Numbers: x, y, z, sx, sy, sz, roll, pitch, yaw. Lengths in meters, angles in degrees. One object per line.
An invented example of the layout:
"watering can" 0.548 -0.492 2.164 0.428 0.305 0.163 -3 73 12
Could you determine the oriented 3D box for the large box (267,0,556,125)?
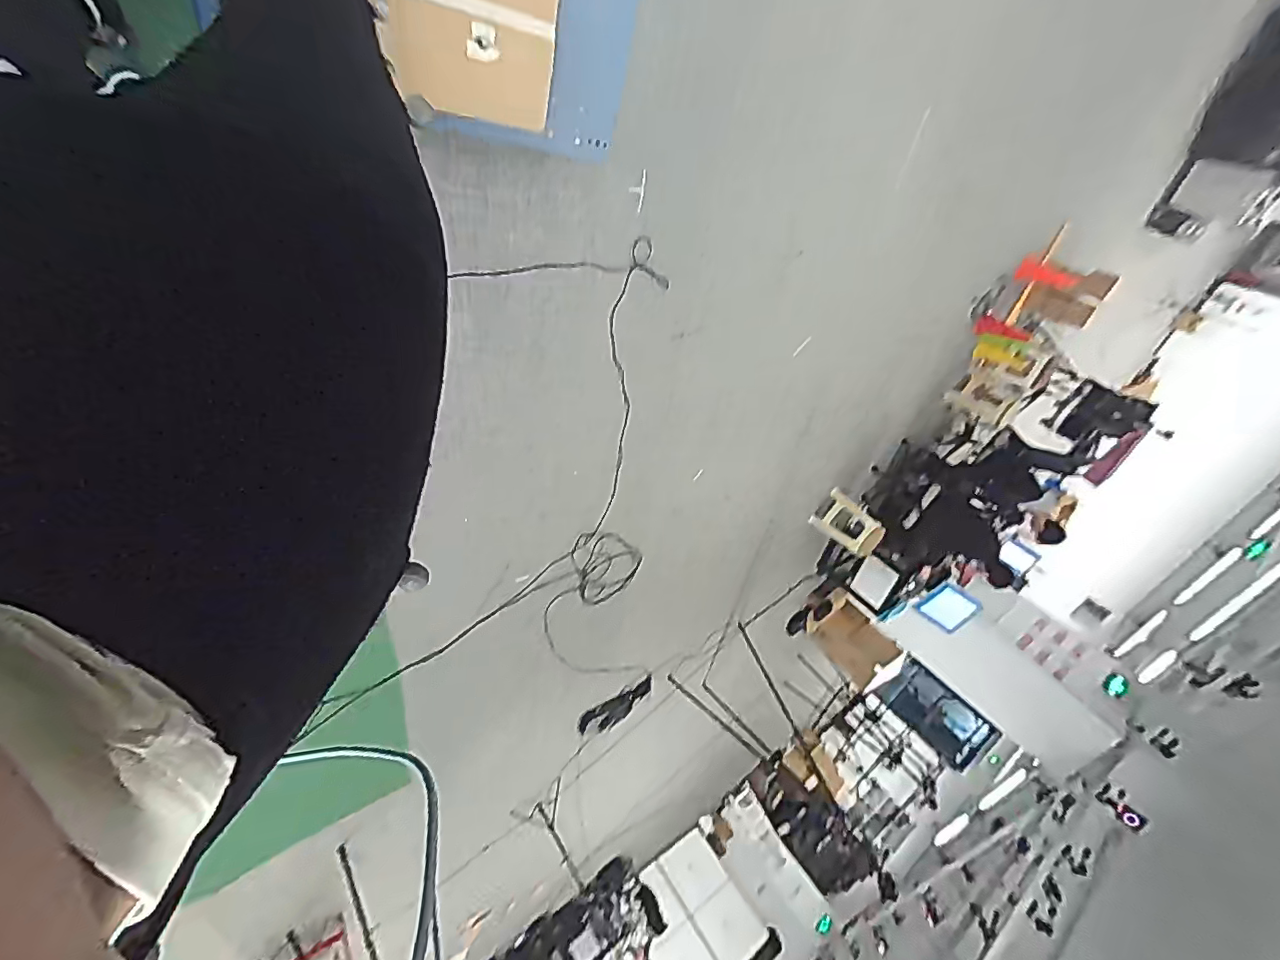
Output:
"large box" -0.402 -0.858 0.943 0.408 0.320 0.320 -15 134 -38
